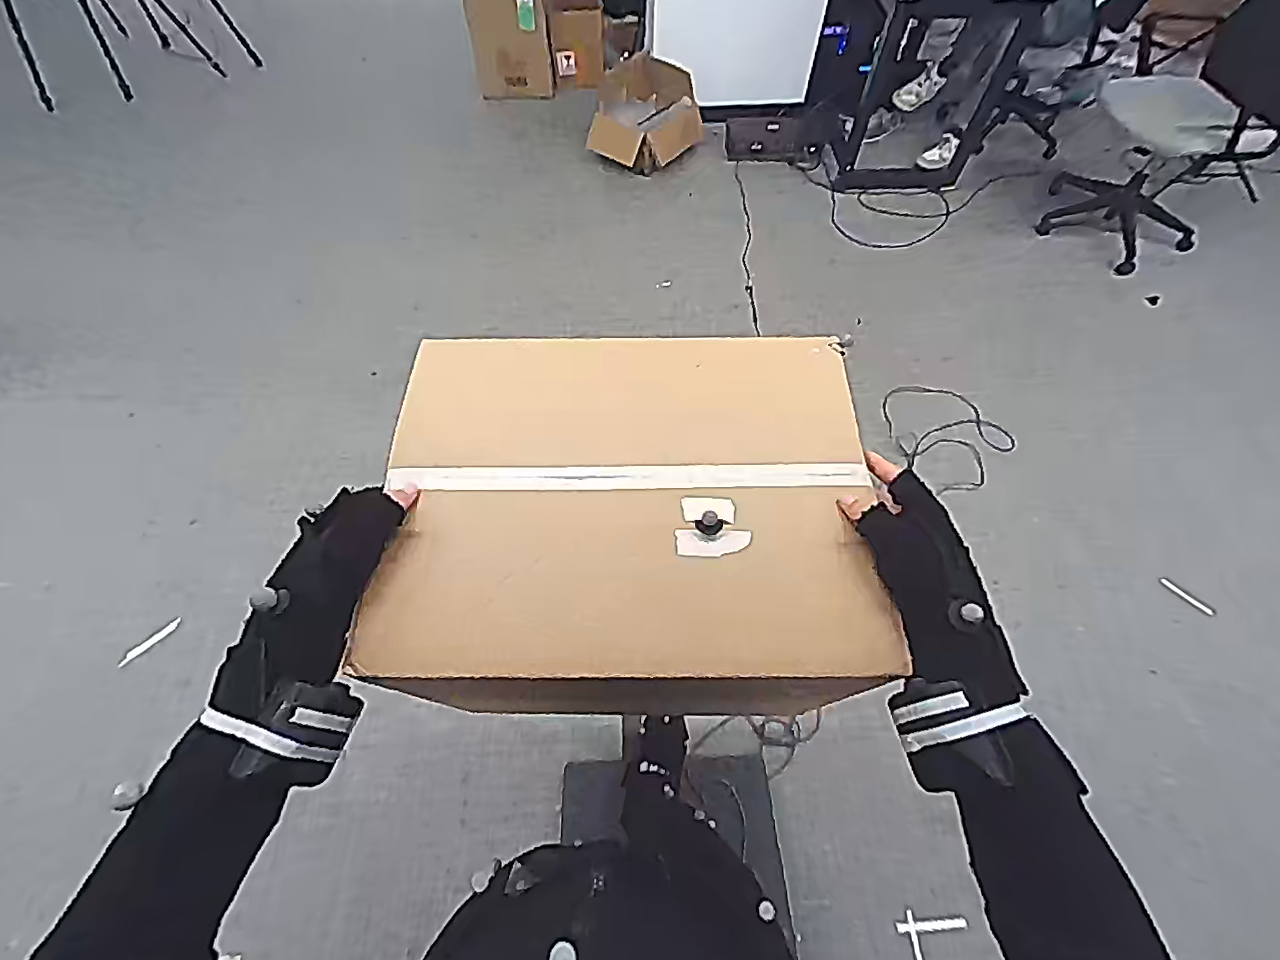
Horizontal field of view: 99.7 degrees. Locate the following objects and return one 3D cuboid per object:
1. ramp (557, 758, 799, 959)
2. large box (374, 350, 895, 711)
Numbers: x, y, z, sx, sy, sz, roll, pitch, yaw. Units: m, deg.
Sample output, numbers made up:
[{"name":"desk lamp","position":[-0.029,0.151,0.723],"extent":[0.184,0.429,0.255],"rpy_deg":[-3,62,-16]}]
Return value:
[{"name":"ramp","position":[0.081,1.069,1.003],"extent":[0.509,0.206,0.991],"rpy_deg":[-4,58,-1]},{"name":"large box","position":[-0.006,0.074,0.607],"extent":[0.408,0.320,0.320],"rpy_deg":[0,62,0]}]
